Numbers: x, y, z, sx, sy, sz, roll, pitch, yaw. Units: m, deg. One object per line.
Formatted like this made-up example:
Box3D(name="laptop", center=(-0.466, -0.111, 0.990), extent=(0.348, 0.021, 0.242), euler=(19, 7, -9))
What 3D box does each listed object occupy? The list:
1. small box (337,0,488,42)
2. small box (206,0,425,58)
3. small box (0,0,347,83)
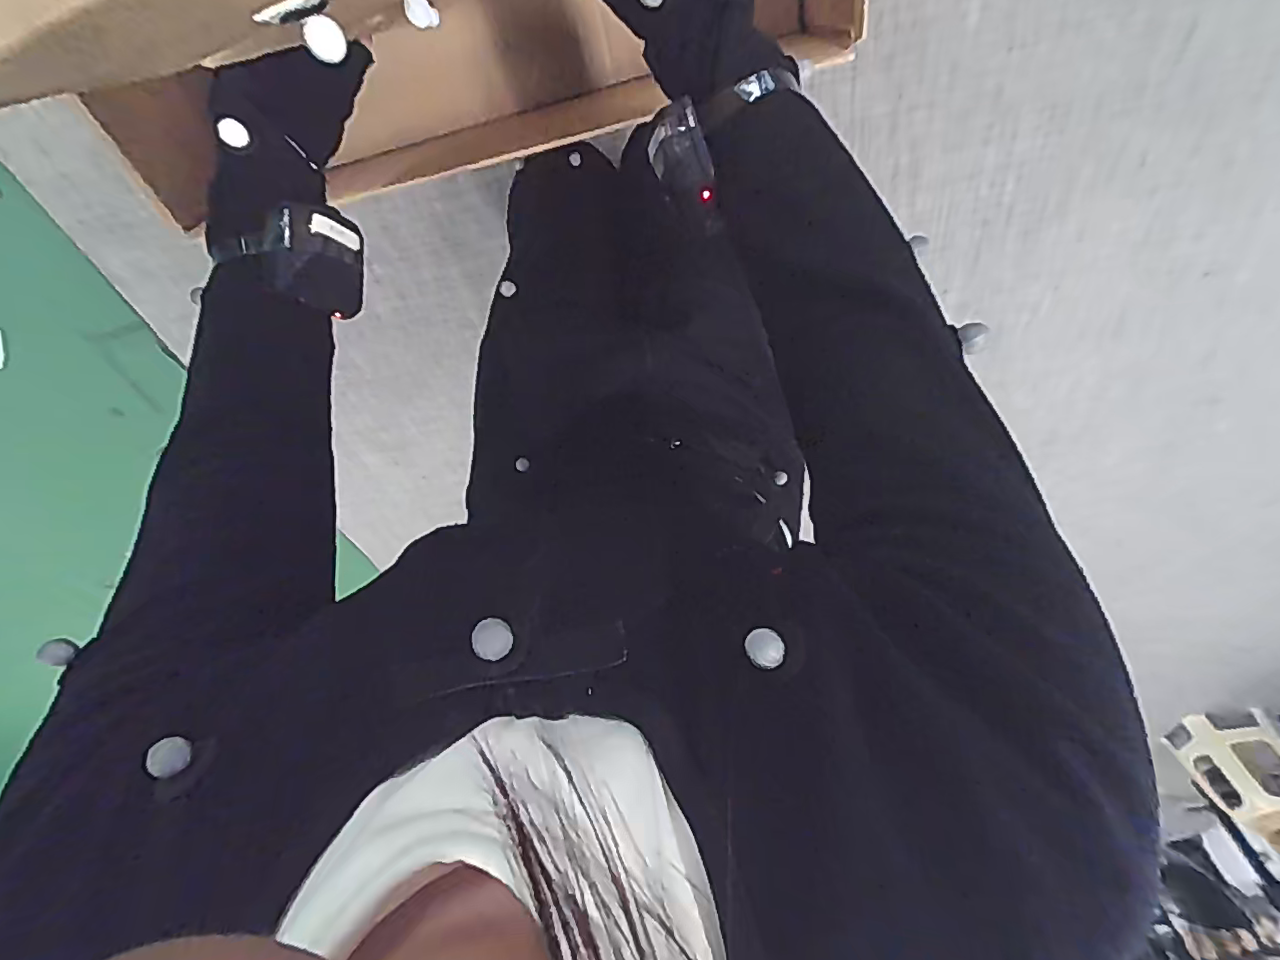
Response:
Box3D(name="small box", center=(-0.163, -0.436, 0.366), extent=(0.168, 0.176, 0.179), euler=(-16, 130, 13))
Box3D(name="small box", center=(-0.157, -0.329, 0.241), extent=(0.168, 0.176, 0.179), euler=(-16, 132, 12))
Box3D(name="small box", center=(-0.144, -0.221, 0.122), extent=(0.168, 0.176, 0.179), euler=(-15, 132, 12))
